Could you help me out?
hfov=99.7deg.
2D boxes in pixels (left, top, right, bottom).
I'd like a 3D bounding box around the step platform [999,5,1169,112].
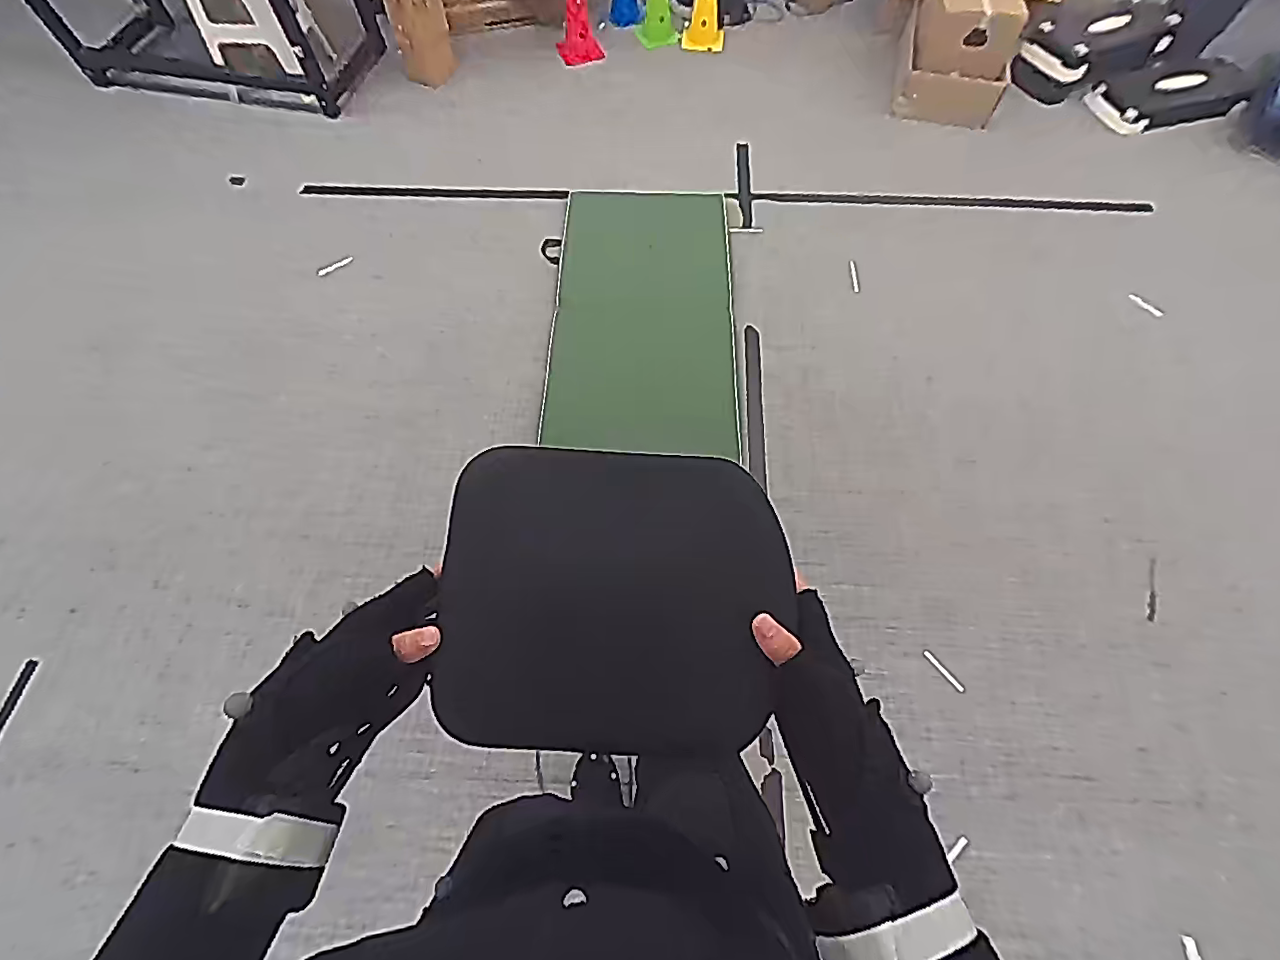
[{"bbox_3d":[2.023,-1.926,2.464,0.684,0.204,0.286,-25,67,-11],"label":"step platform"}]
